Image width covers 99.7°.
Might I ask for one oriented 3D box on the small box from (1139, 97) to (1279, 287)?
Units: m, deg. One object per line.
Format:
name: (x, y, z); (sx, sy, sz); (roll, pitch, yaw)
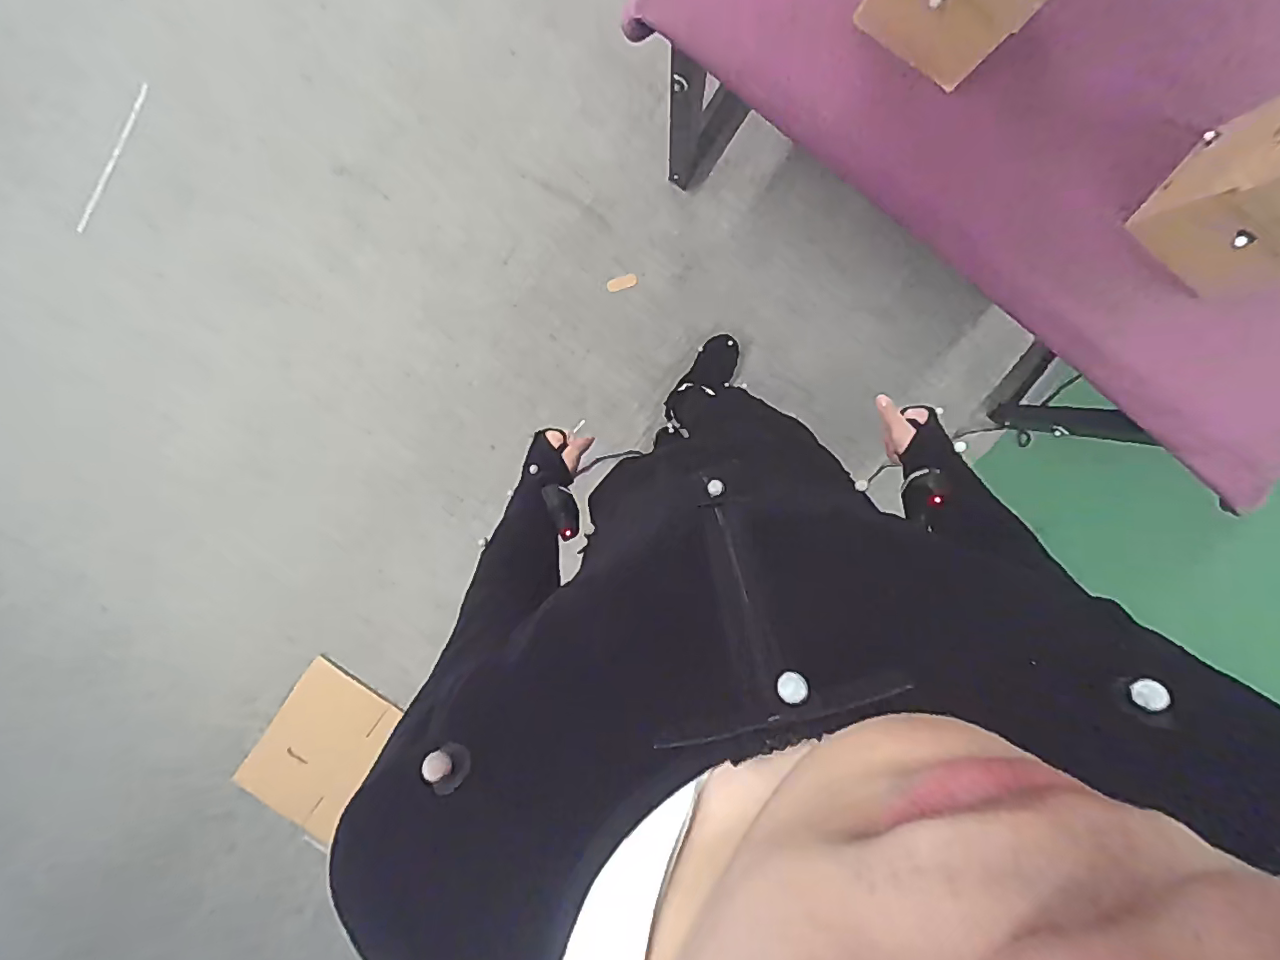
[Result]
small box: (0.826, -0.375, 0.701); (0.179, 0.176, 0.168); (38, 101, -4)

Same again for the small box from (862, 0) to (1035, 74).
small box: (0.418, -0.660, 0.675); (0.179, 0.176, 0.168); (34, 101, -3)
